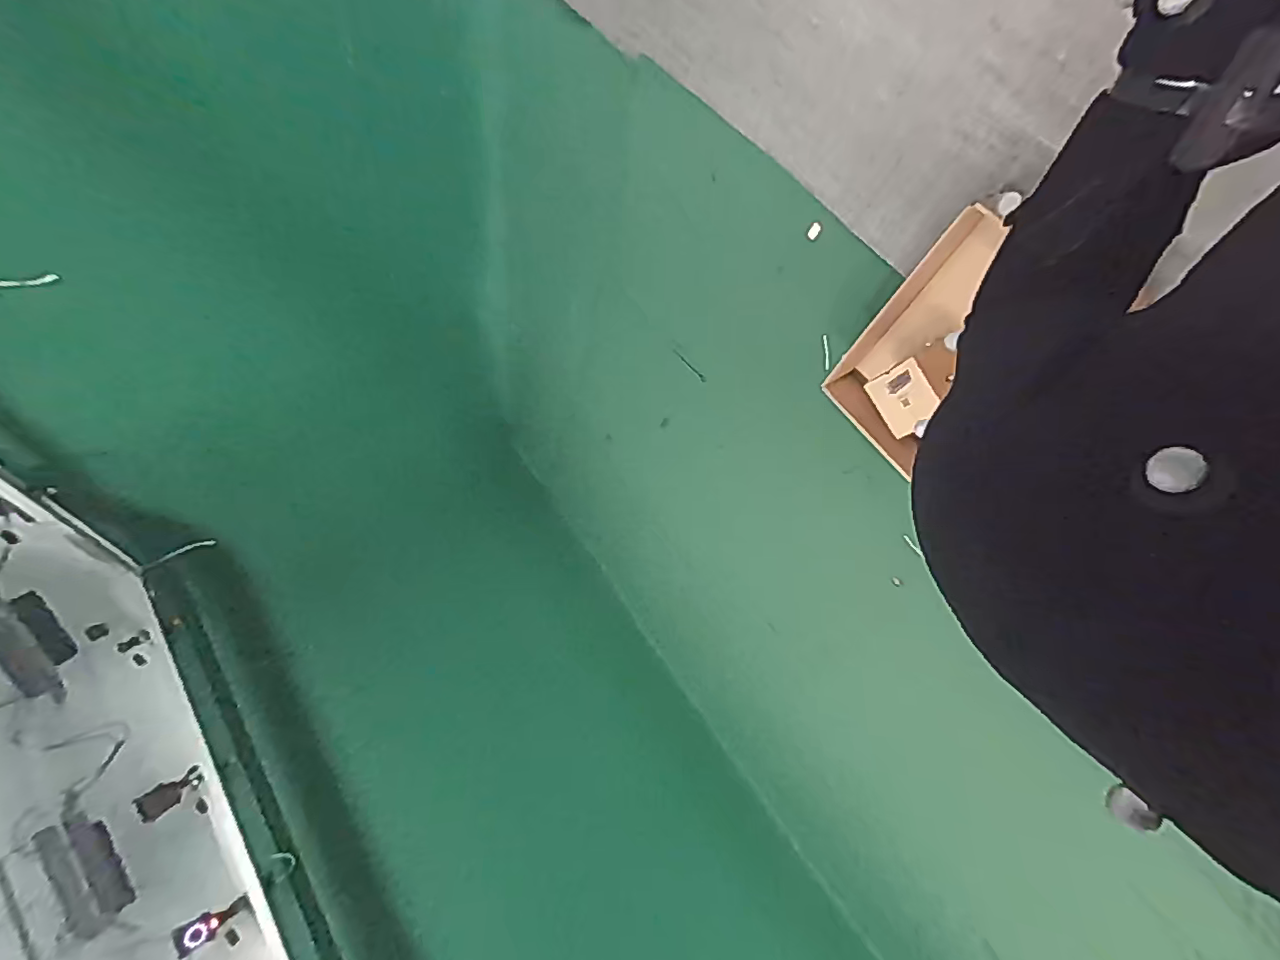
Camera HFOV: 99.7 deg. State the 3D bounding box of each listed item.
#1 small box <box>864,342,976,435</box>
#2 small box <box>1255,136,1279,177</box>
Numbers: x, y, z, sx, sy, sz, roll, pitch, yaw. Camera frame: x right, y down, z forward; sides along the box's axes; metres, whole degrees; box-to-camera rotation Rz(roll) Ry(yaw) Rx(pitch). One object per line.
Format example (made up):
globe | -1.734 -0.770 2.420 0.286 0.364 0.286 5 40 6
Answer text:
small box | 0.746 -0.249 1.440 0.179 0.176 0.168 60 150 4
small box | 1.079 -0.506 0.761 0.176 0.168 0.179 26 117 7
